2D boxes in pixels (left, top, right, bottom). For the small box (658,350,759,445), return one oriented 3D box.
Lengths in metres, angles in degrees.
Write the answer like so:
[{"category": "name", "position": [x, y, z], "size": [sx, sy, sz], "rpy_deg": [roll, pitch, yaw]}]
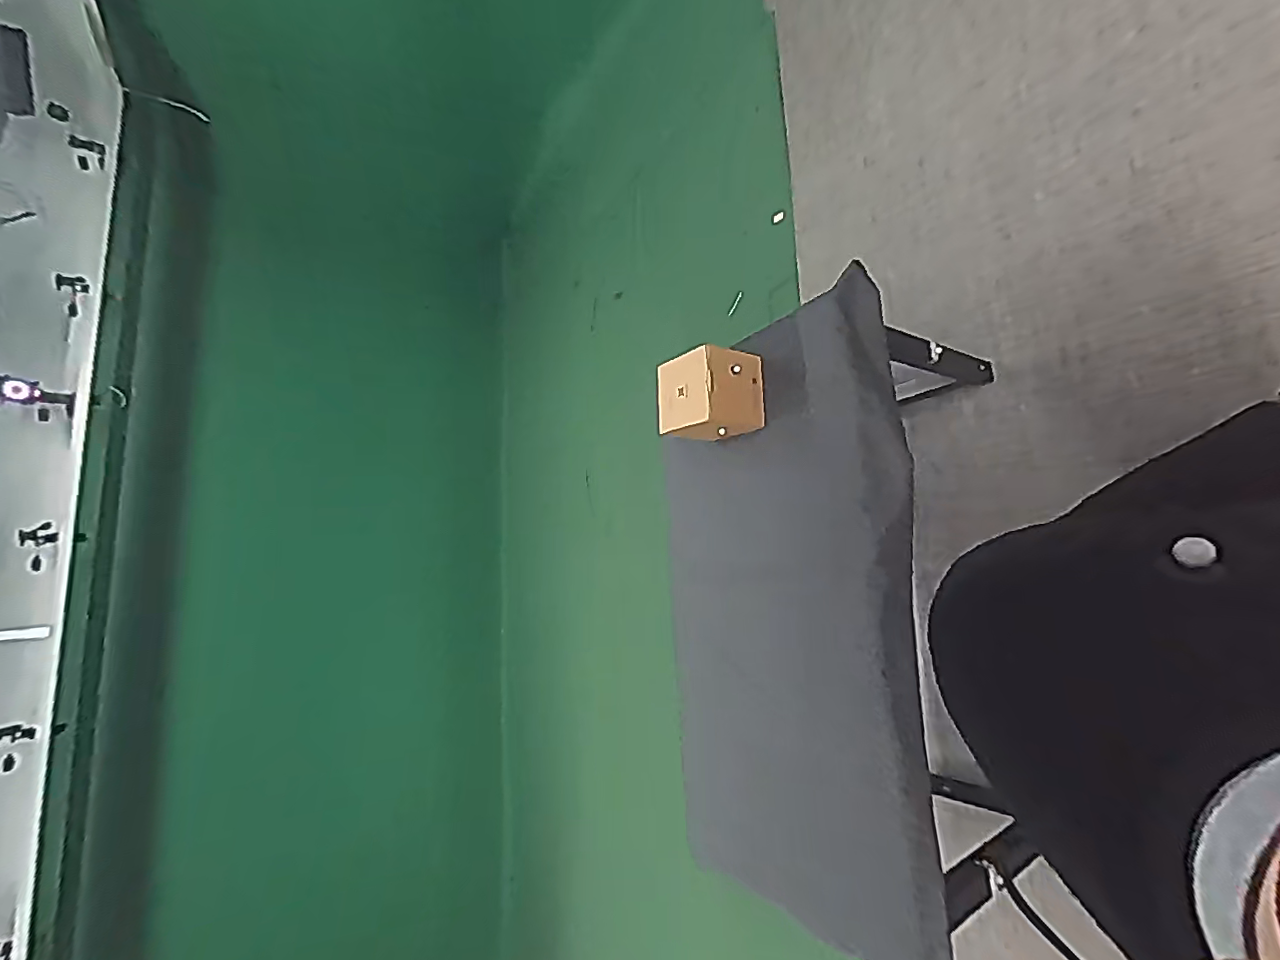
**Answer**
[{"category": "small box", "position": [0.159, -0.180, 1.238], "size": [0.179, 0.176, 0.168], "rpy_deg": [-13, 75, 56]}]
